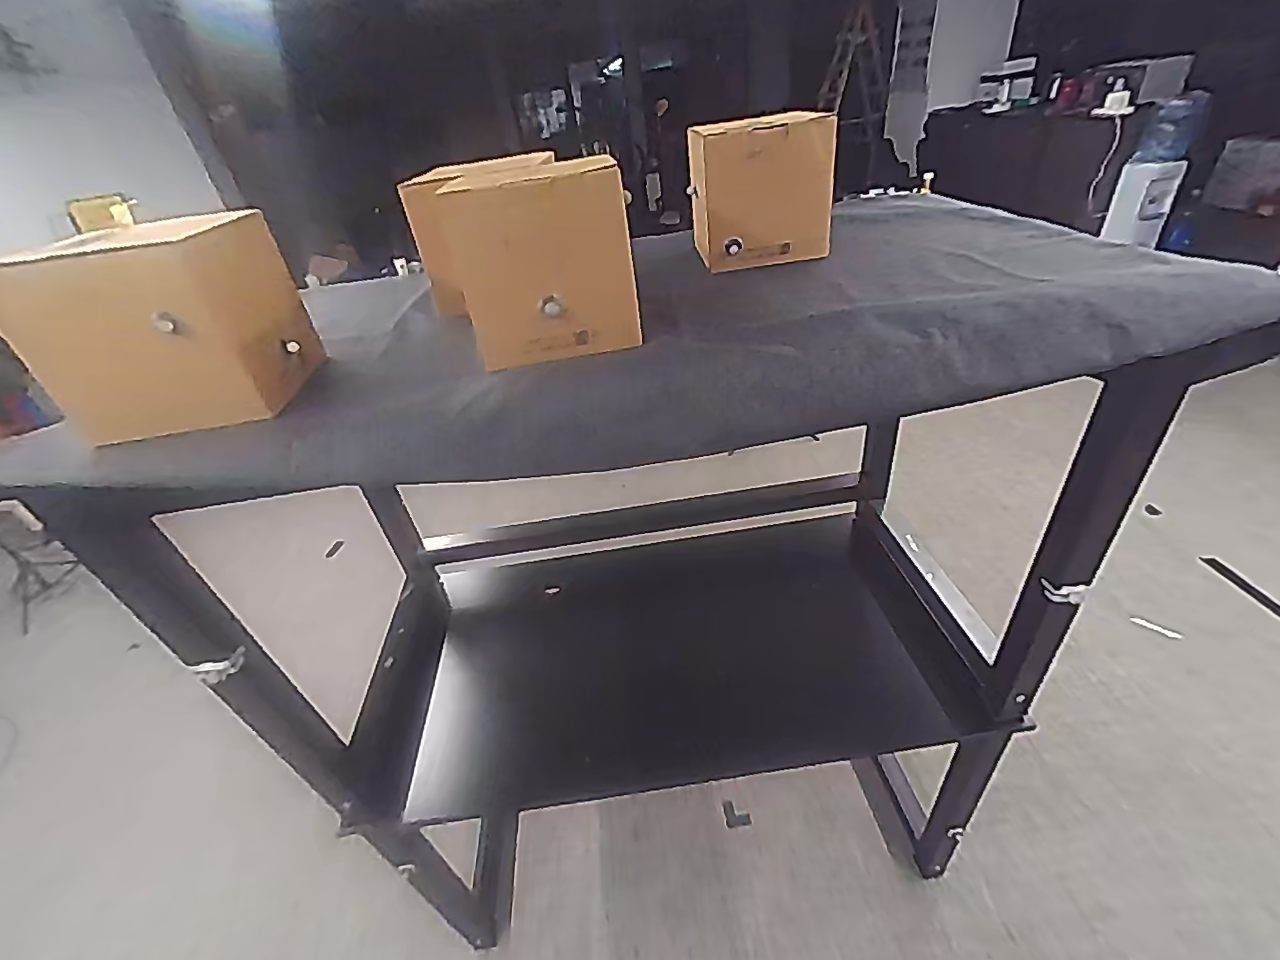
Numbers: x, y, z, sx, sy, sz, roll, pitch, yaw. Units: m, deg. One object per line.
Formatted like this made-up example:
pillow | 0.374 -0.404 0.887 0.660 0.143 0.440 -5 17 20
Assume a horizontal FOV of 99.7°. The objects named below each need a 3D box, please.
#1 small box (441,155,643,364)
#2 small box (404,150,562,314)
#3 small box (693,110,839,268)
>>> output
small box | -0.093 -0.241 0.585 0.168 0.176 0.179 -9 35 -1
small box | -0.190 -0.346 0.756 0.179 0.176 0.168 -6 36 4
small box | 0.171 -0.410 0.770 0.168 0.176 0.179 -7 35 2
